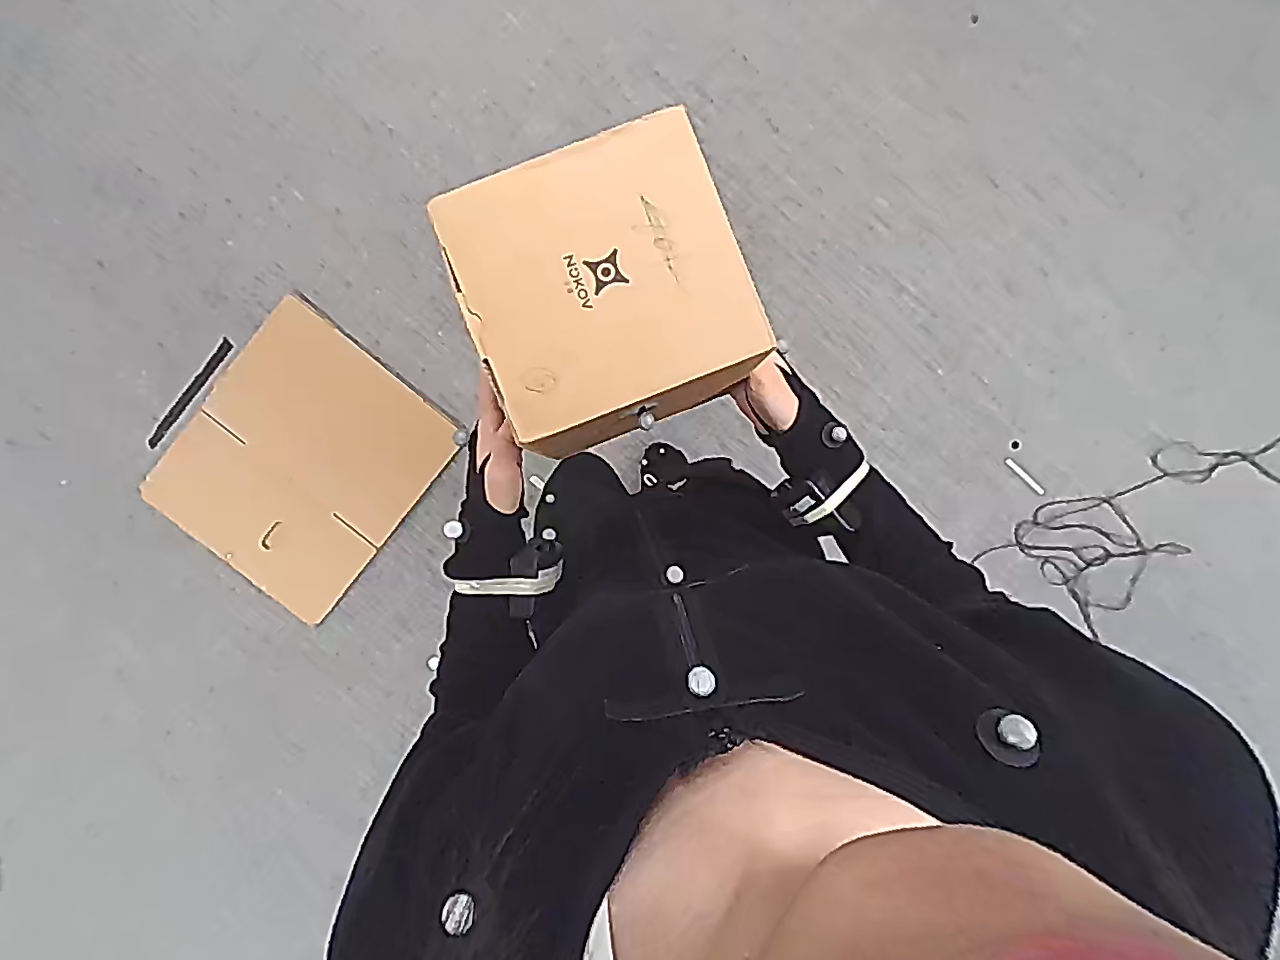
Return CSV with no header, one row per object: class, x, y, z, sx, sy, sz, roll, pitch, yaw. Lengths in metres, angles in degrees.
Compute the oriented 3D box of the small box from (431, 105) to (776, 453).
small box,-0.023,-0.127,0.416,0.179,0.176,0.168,-22,90,-1
